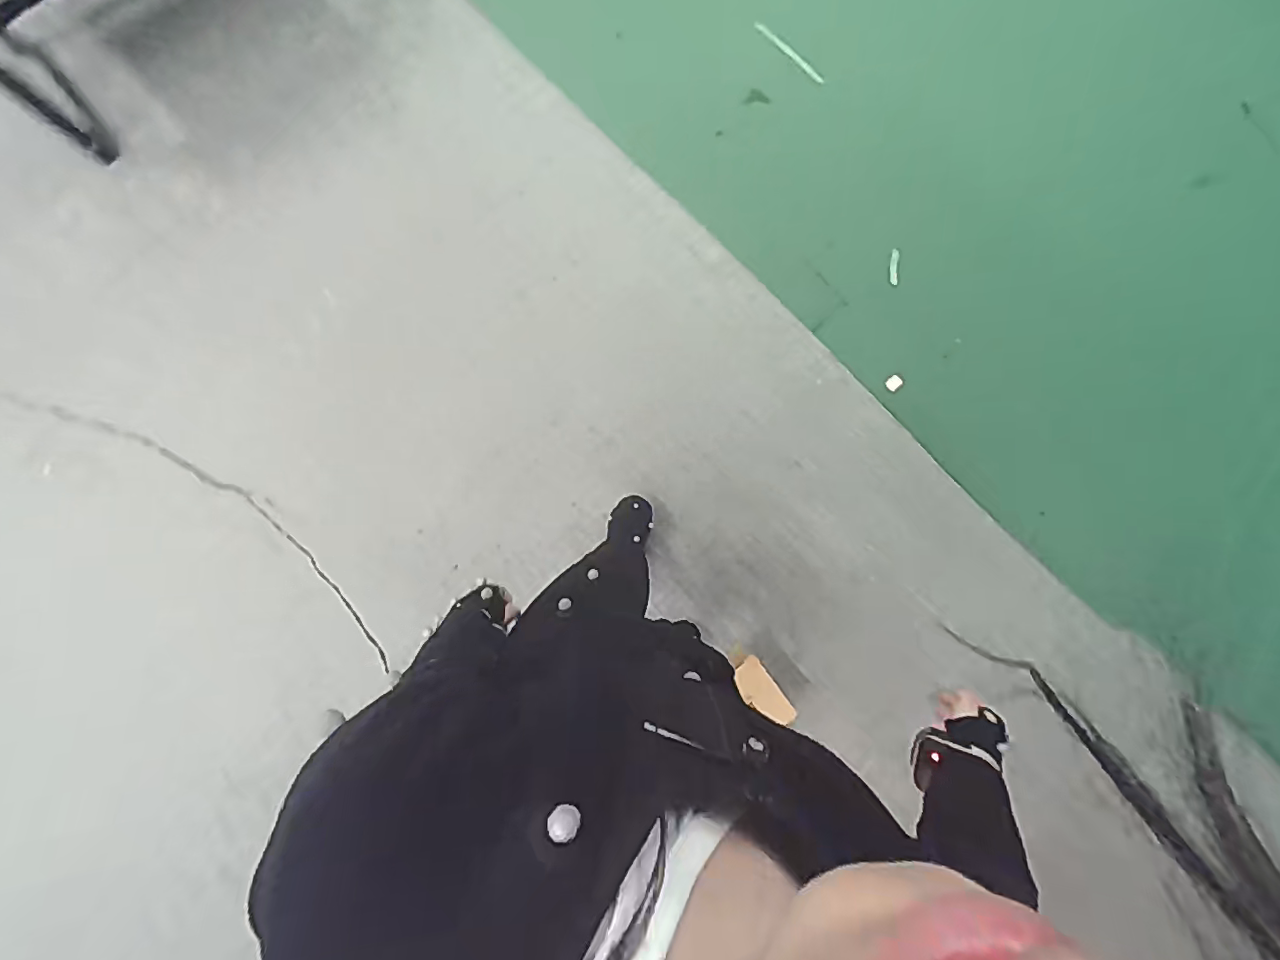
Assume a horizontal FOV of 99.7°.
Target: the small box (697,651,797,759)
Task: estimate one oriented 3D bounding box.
[{"bbox_3d":[0.263,0.560,1.372,0.168,0.176,0.179,-36,81,-7],"label":"small box"}]
